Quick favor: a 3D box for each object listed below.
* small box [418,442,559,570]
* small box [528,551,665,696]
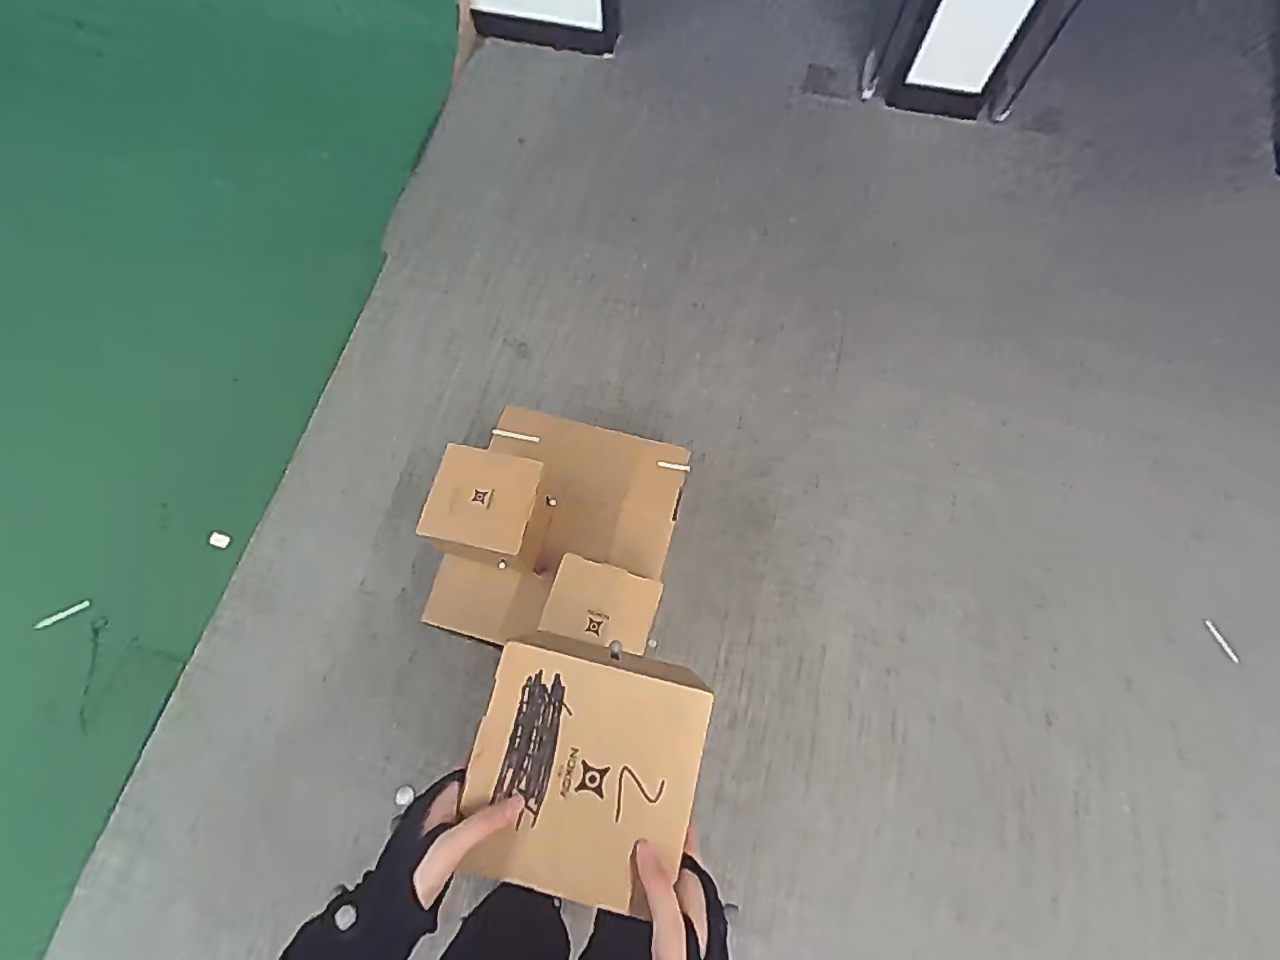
[{"bbox_3d":[-0.255,0.054,0.961,0.179,0.176,0.168,12,70,5],"label":"small box"},{"bbox_3d":[-0.066,0.239,0.894,0.168,0.176,0.179,18,72,5],"label":"small box"}]
